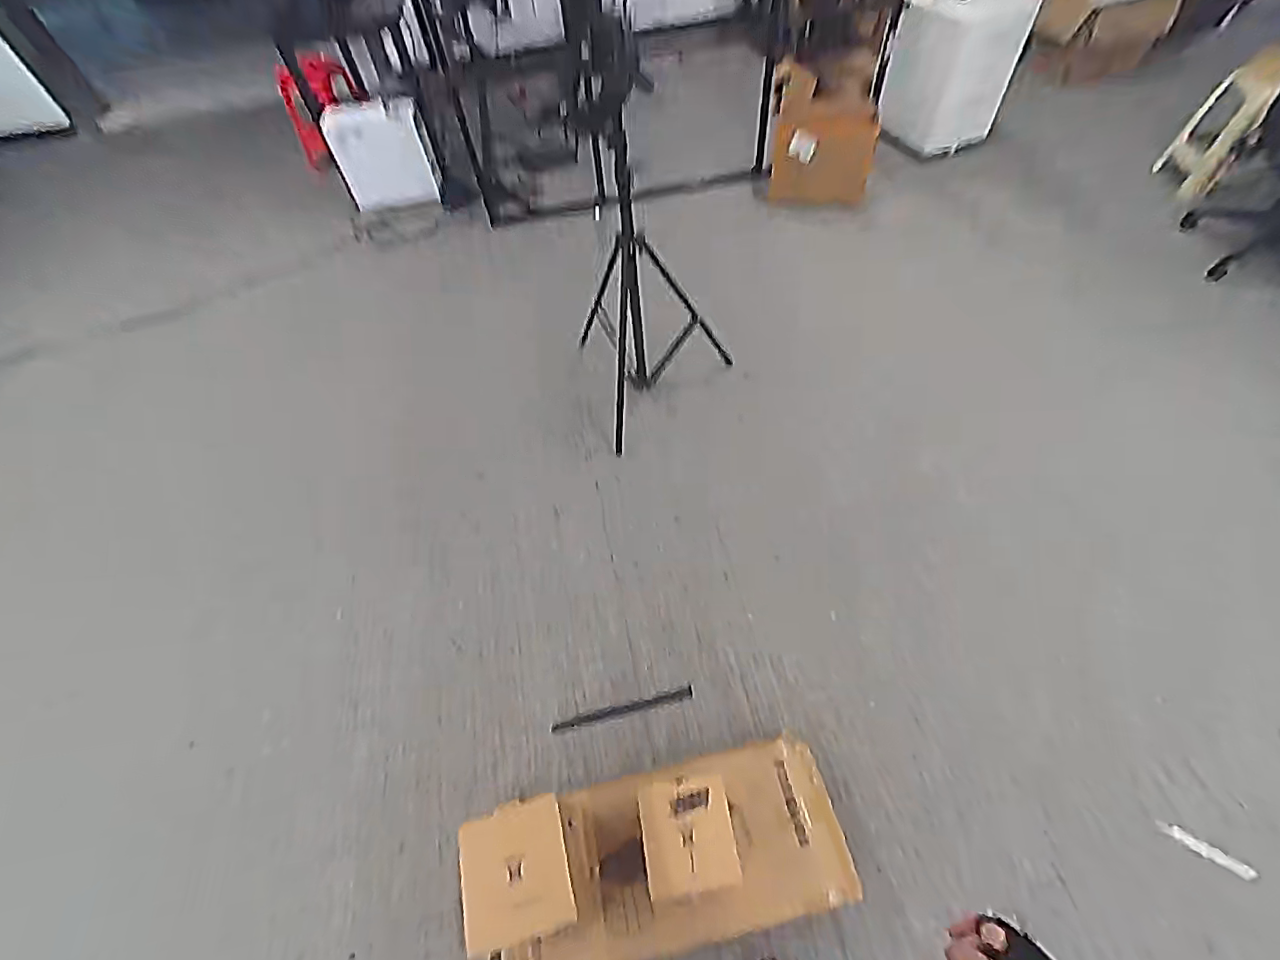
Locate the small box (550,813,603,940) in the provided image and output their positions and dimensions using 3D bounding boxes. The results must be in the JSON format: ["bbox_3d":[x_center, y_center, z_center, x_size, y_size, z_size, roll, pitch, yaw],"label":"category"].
[{"bbox_3d":[-0.168,0.751,1.023,0.168,0.176,0.179,-11,54,-3],"label":"small box"}]

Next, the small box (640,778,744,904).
[{"bbox_3d":[0.095,0.697,1.042,0.168,0.176,0.179,-9,53,-1],"label":"small box"}]

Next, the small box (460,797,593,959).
[{"bbox_3d":[-0.183,0.655,0.892,0.168,0.176,0.179,-16,54,-7],"label":"small box"}]
